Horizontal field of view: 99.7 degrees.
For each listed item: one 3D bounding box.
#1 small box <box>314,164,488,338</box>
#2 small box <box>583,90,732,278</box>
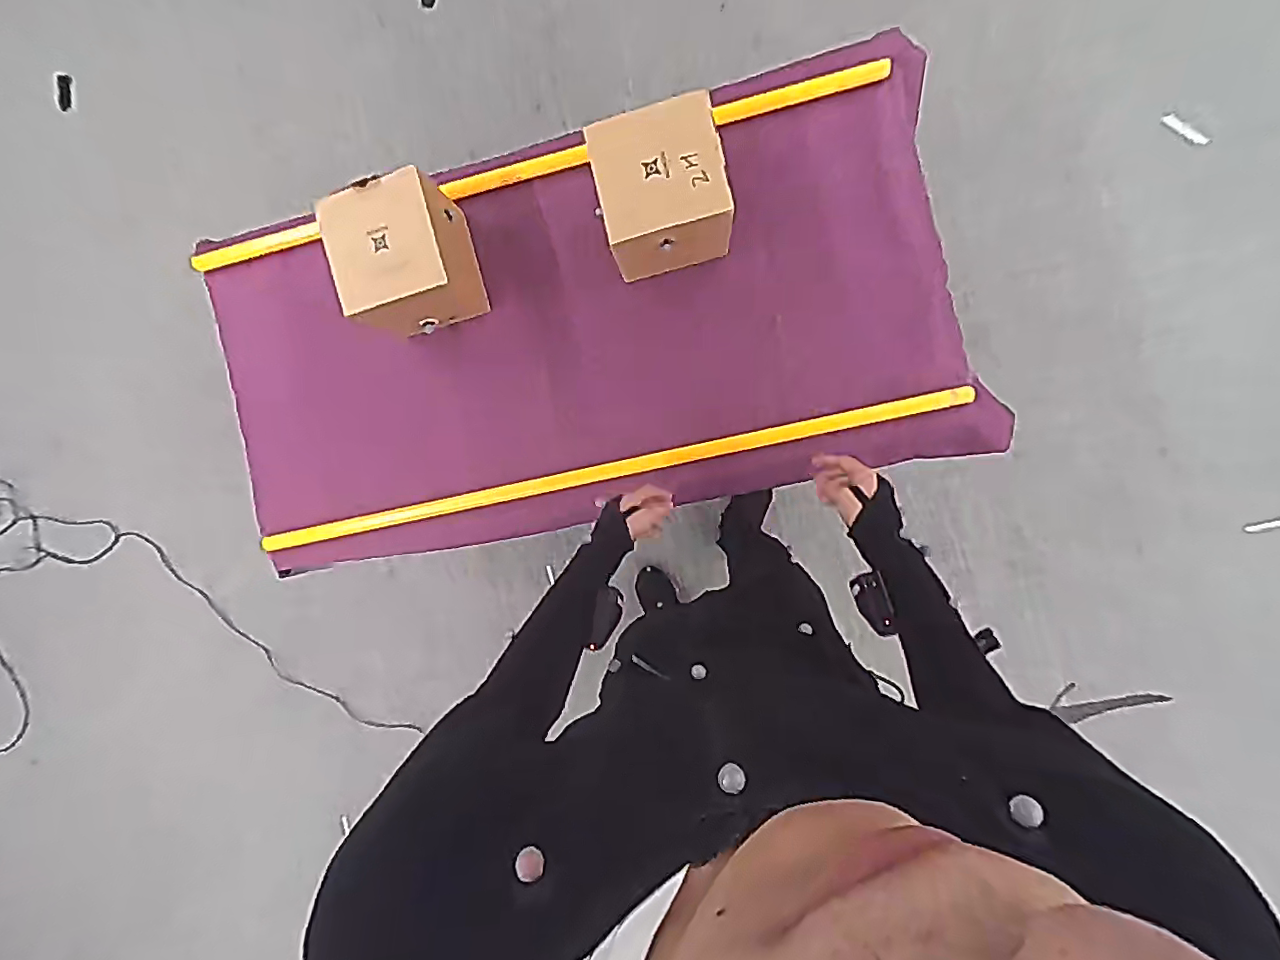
[{"bbox_3d":[-0.361,-0.344,0.846,0.168,0.176,0.179,-15,91,7],"label":"small box"},{"bbox_3d":[0.031,-0.421,0.804,0.179,0.176,0.168,-13,92,6],"label":"small box"}]
